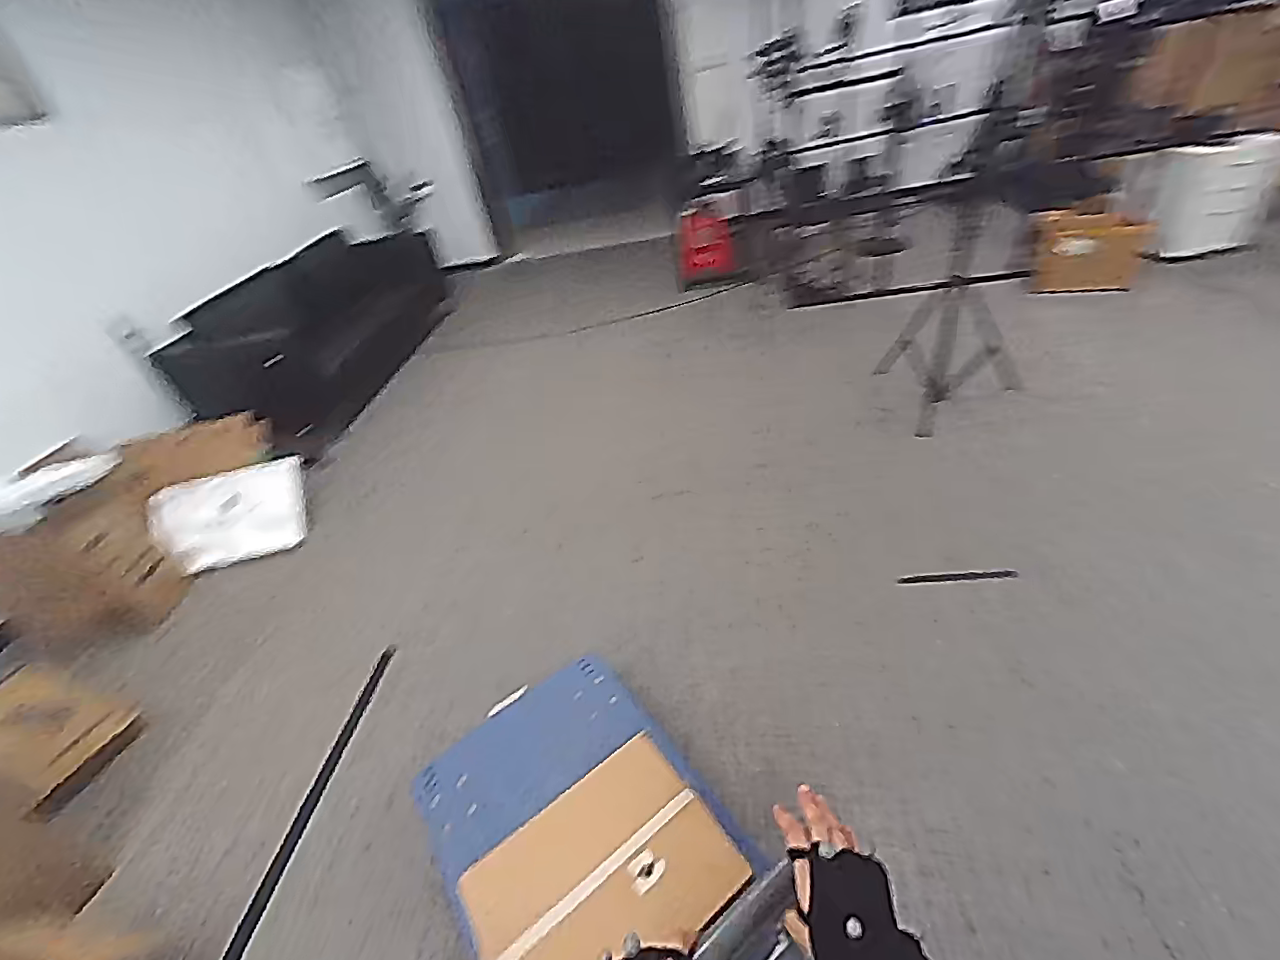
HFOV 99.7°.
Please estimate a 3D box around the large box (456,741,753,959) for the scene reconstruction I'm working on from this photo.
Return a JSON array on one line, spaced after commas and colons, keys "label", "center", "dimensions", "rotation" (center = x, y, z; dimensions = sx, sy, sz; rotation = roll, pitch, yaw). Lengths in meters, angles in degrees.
[{"label": "large box", "center": [-0.048, 0.788, 0.977], "dimensions": [0.408, 0.320, 0.320], "rotation": [-30, 41, -24]}]
